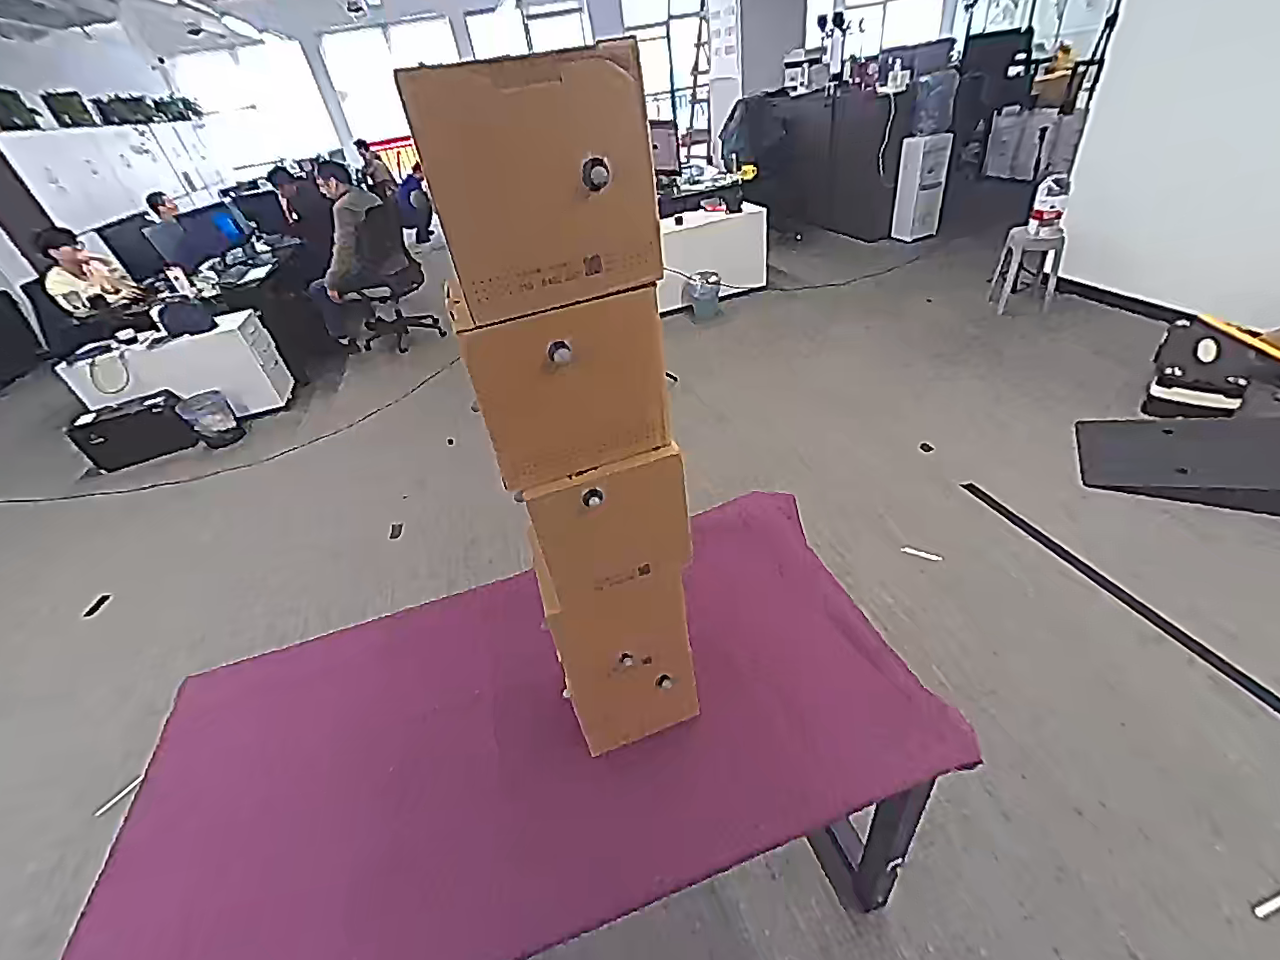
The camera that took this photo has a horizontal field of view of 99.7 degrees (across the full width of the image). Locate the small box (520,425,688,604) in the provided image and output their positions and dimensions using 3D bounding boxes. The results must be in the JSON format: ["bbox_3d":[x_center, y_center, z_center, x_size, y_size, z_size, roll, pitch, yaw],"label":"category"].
[{"bbox_3d":[-0.052,0.014,0.645,0.168,0.176,0.179,-18,37,-10],"label":"small box"}]

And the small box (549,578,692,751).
[{"bbox_3d":[-0.026,0.279,0.836,0.179,0.176,0.168,-18,37,-10],"label":"small box"}]

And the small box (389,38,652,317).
[{"bbox_3d":[-0.098,-0.253,0.464,0.168,0.176,0.179,-18,36,-13],"label":"small box"}]

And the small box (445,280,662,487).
[{"bbox_3d":[-0.084,-0.119,0.557,0.179,0.176,0.168,-18,38,-11],"label":"small box"}]
